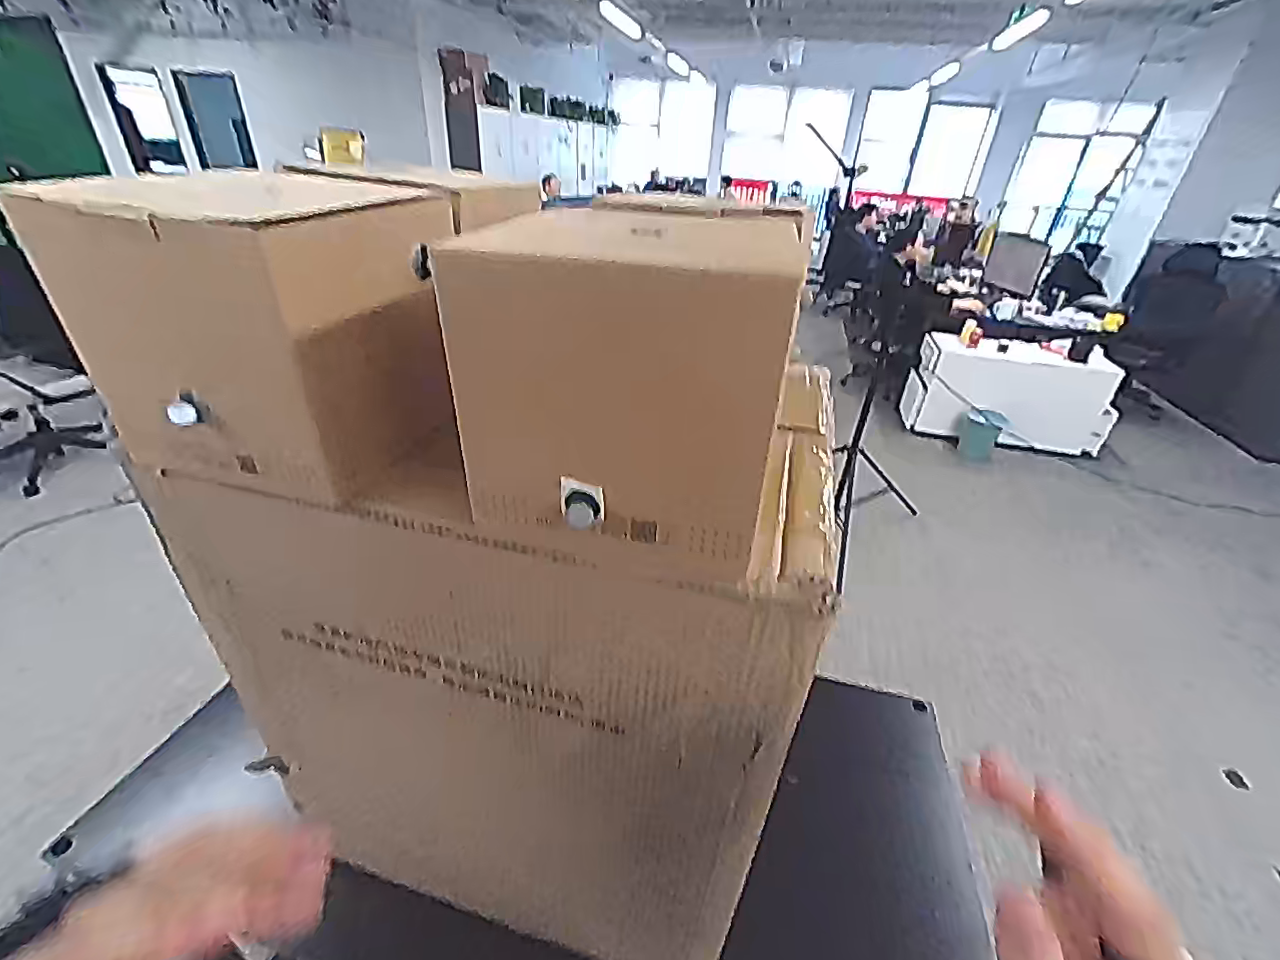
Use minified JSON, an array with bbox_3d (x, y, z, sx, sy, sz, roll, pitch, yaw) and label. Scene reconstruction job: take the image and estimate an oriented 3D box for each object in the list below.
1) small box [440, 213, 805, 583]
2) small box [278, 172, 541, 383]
[{"bbox_3d":[0.002,-0.063,0.341,0.168,0.176,0.179,6,33,9],"label":"small box"},{"bbox_3d":[-0.214,-0.209,0.551,0.179,0.176,0.168,12,31,11],"label":"small box"}]
